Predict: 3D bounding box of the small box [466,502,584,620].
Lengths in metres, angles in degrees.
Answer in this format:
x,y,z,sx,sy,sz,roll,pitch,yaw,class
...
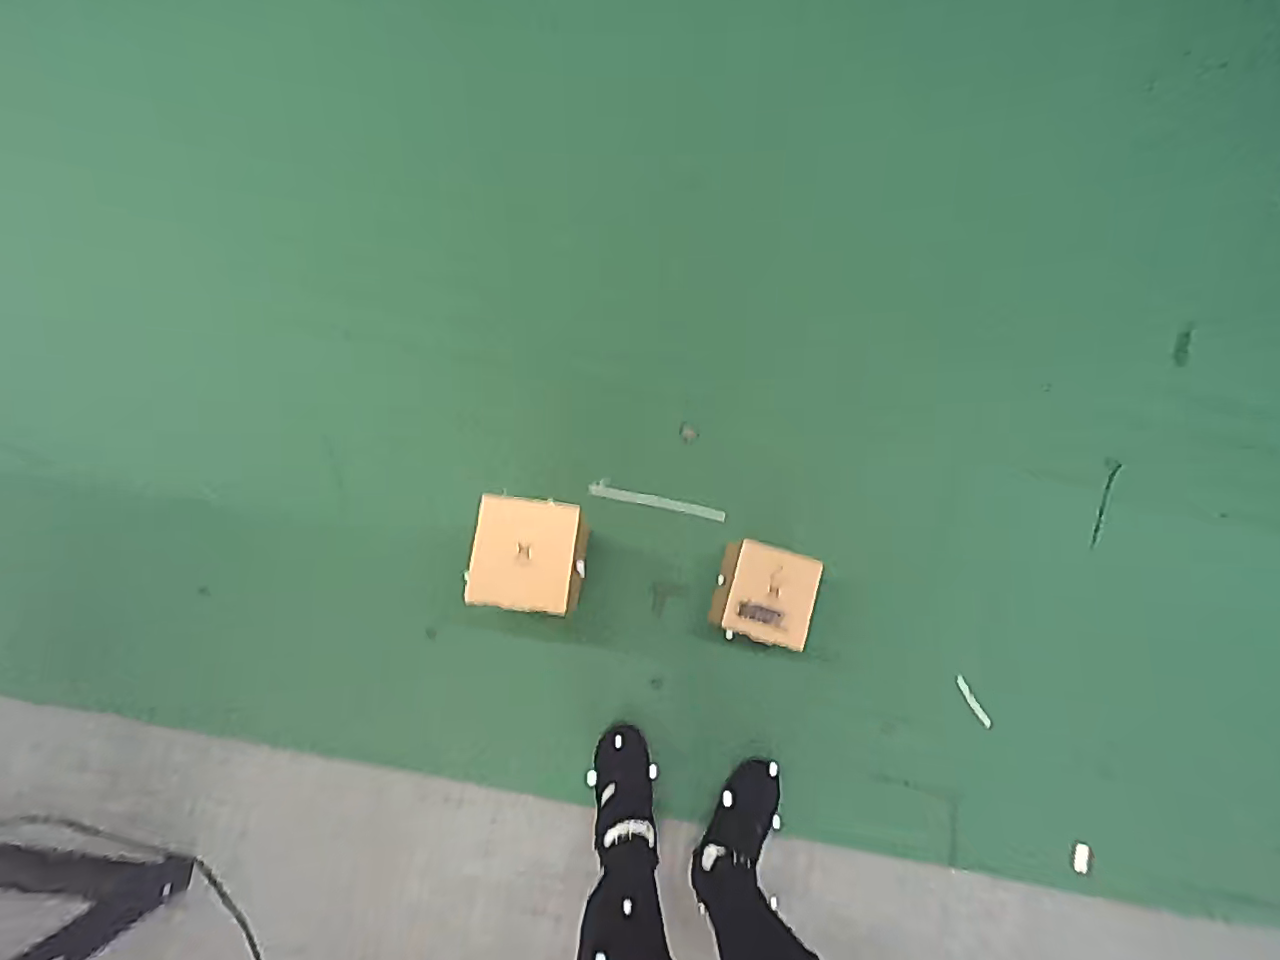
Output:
x,y,z,sx,sy,sz,roll,pitch,yaw,class
-0.194,0.145,0.964,0.168,0.176,0.179,8,80,-1,small box
